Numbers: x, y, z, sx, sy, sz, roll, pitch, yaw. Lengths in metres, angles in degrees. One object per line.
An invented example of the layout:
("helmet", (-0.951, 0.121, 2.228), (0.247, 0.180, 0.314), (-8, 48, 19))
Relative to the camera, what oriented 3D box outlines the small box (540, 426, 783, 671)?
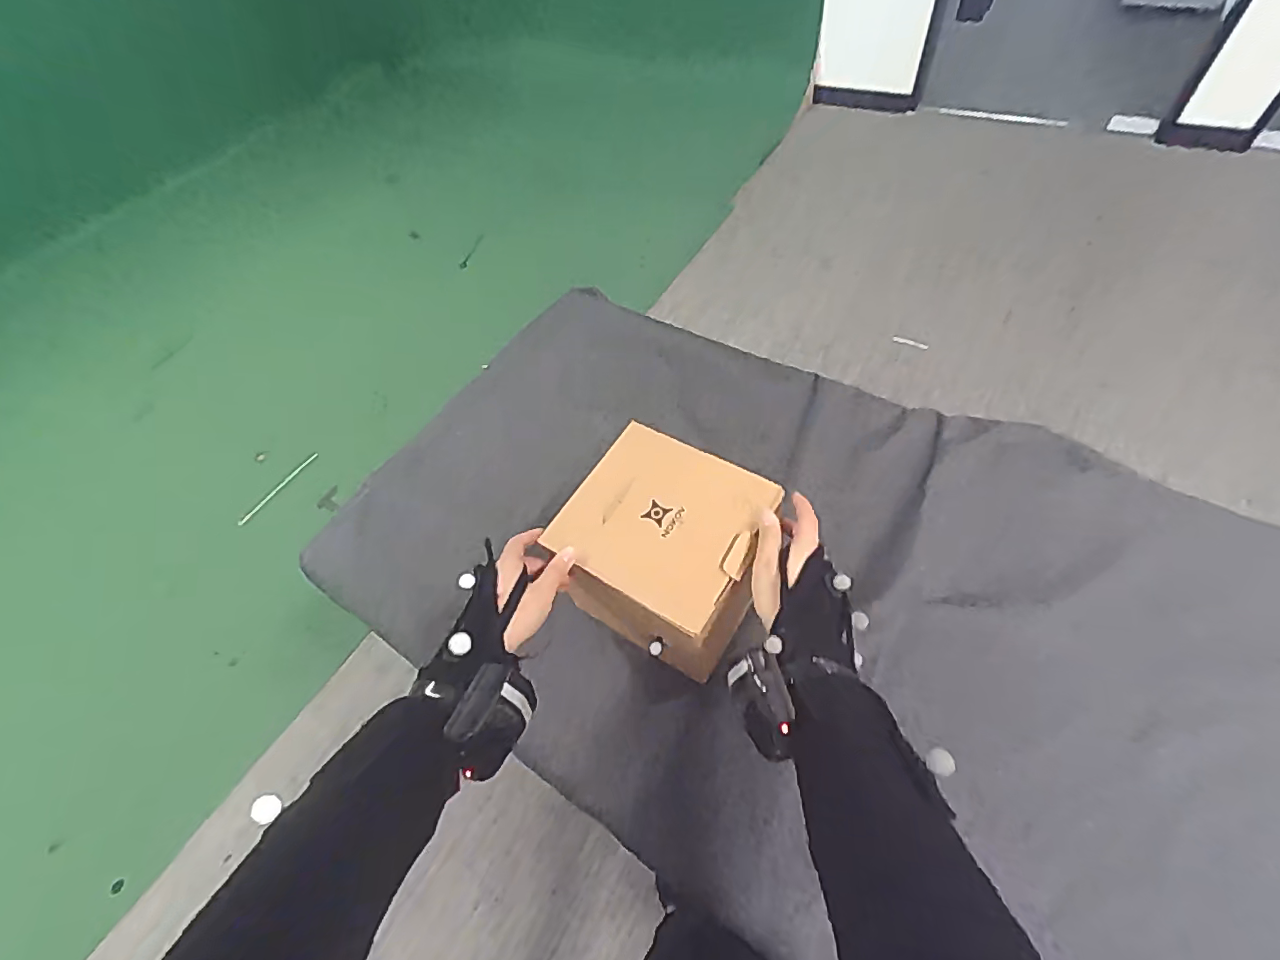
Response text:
("small box", (0.030, 0.078, 0.570), (0.179, 0.176, 0.168), (24, 61, 23))
